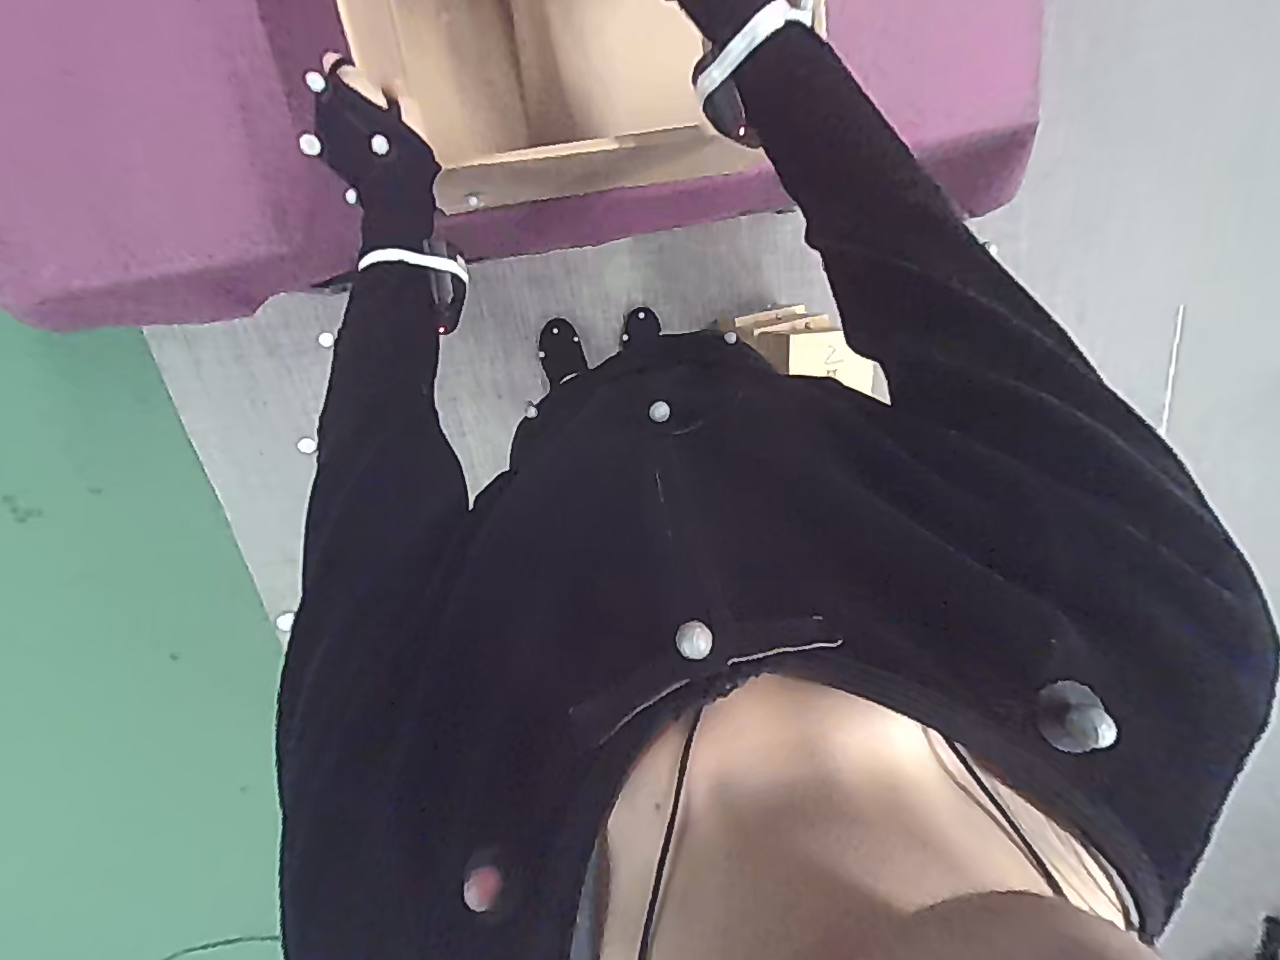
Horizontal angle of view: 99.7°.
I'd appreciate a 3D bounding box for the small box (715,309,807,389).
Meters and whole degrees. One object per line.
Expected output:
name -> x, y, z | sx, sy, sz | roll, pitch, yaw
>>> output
small box -> 0.305, -0.340, 1.384 | 0.179, 0.176, 0.168 | -12, 108, -3
